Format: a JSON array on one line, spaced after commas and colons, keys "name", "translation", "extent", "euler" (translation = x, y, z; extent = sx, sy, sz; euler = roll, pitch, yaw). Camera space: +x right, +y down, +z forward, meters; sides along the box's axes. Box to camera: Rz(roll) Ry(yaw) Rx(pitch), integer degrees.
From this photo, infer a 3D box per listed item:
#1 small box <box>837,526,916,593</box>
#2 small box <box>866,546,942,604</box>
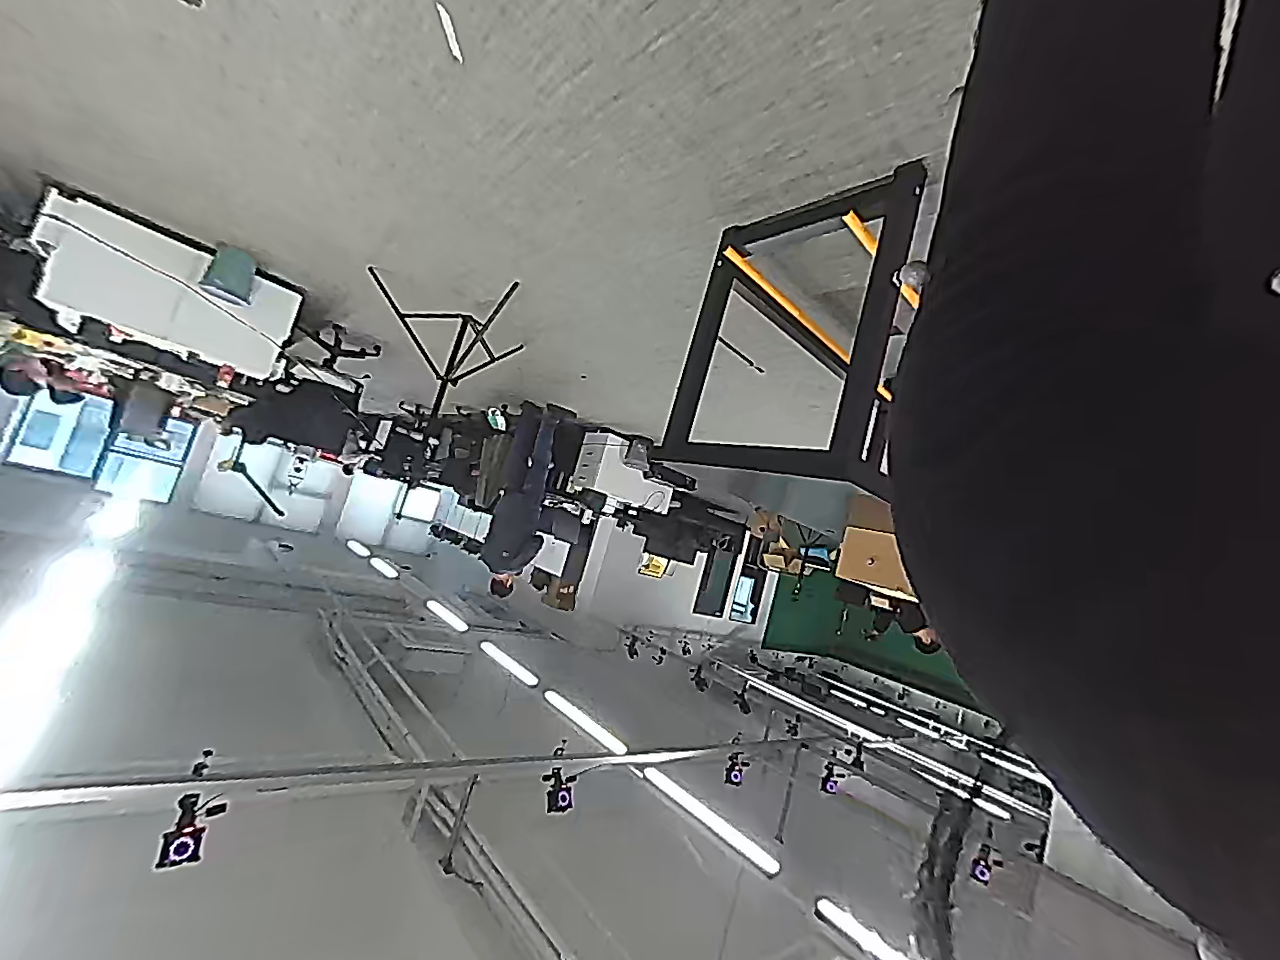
[{"name": "small box", "translation": [0.760, 0.249, 1.723], "extent": [0.168, 0.176, 0.179], "euler": [21, 171, -41]}, {"name": "small box", "translation": [0.914, 0.310, 1.861], "extent": [0.179, 0.176, 0.168], "euler": [22, 171, -38]}]
